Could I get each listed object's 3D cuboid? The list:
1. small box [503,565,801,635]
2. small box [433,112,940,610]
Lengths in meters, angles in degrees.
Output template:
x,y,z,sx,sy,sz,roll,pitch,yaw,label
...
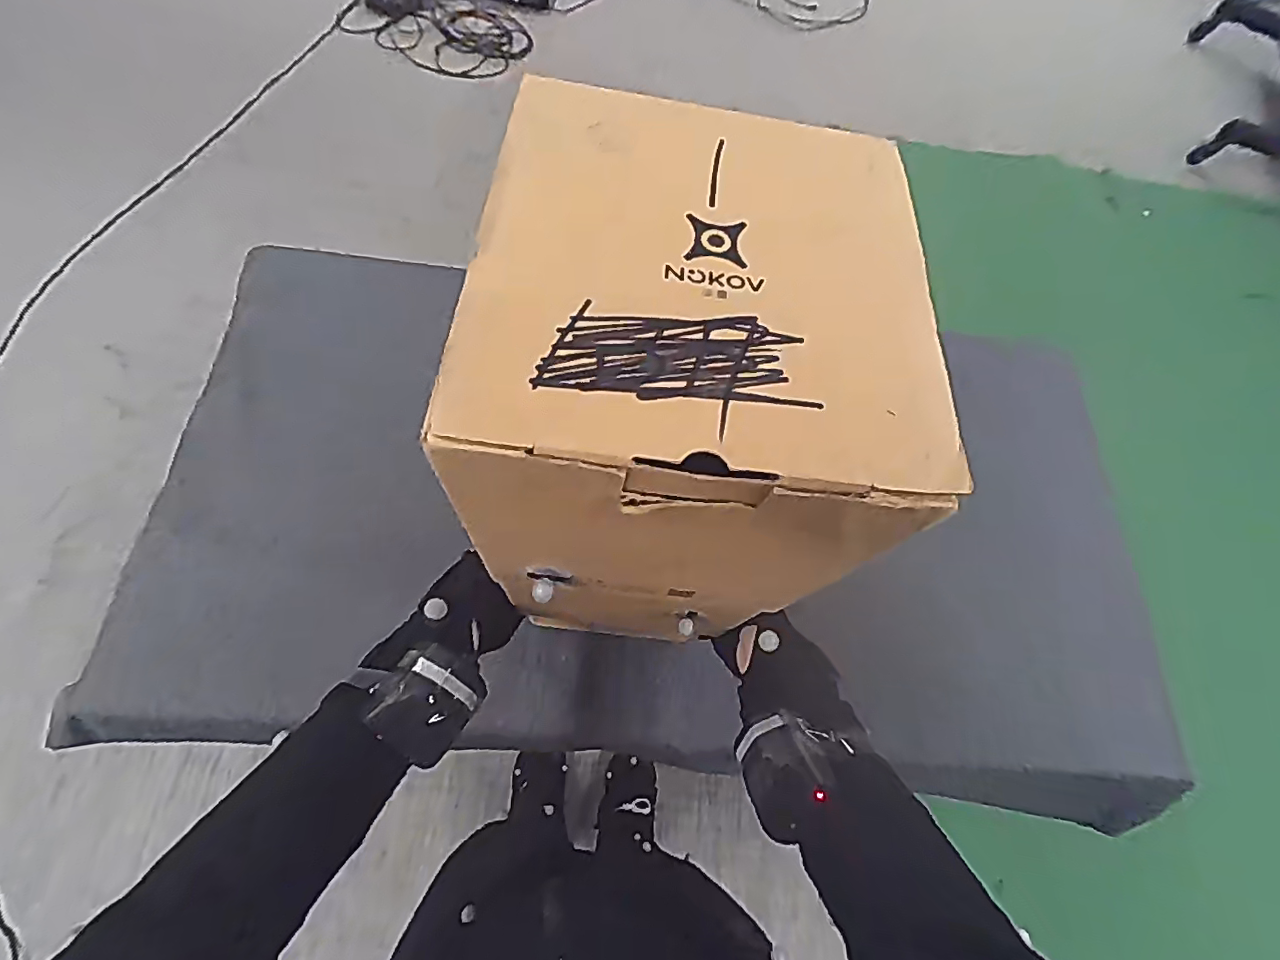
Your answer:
x,y,z,sx,sy,sz,roll,pitch,yaw,label
0.001,0.021,0.411,0.179,0.176,0.168,4,66,-6,small box
0.015,-0.039,0.276,0.168,0.176,0.179,7,64,-4,small box
